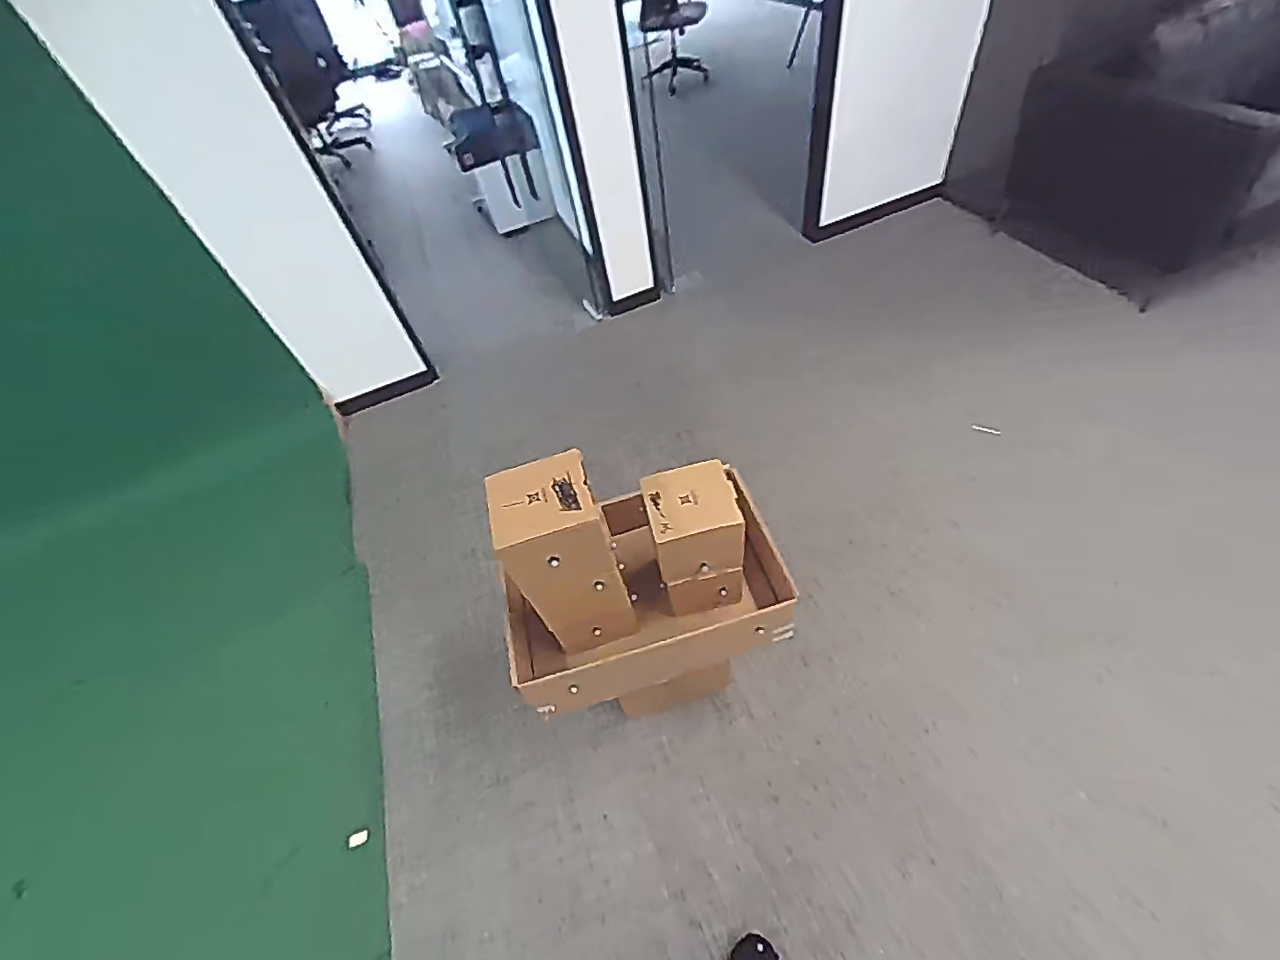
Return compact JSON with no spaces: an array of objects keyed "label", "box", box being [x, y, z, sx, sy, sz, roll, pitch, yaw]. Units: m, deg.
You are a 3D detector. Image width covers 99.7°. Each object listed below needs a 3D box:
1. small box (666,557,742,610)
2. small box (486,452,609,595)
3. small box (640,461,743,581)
[{"label":"small box","box":[0.137,0.187,1.259,0.168,0.176,0.179,-14,51,1]},{"label":"small box","box":[-0.161,0.082,0.983,0.179,0.176,0.168,-18,51,-2]},{"label":"small box","box":[0.109,0.089,1.133,0.179,0.176,0.168,-14,51,0]}]
